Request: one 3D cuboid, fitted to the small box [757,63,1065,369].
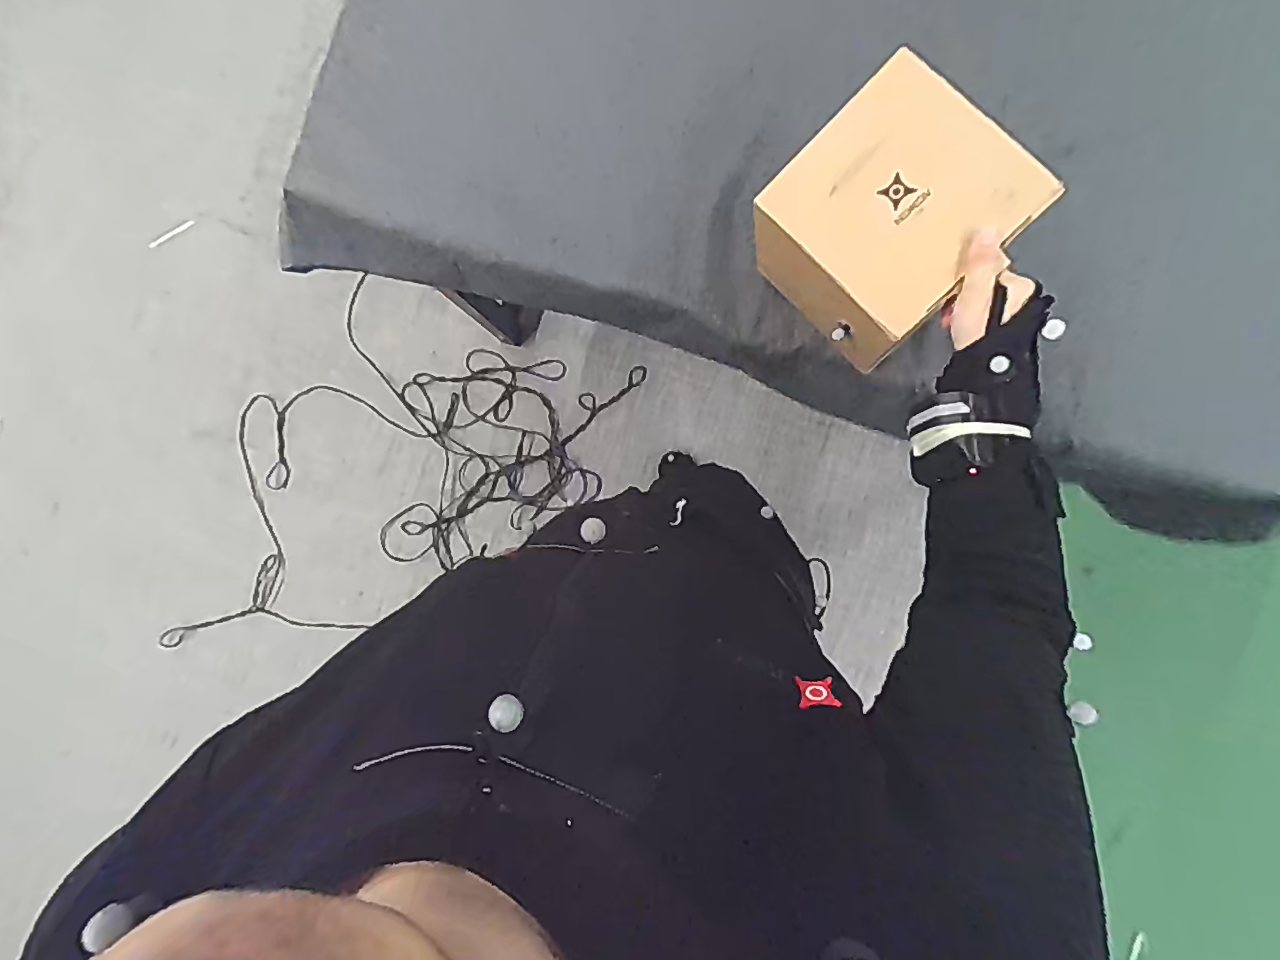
[{"bbox_3d":[0.234,-0.225,0.519,0.168,0.176,0.179,-44,81,11],"label":"small box"}]
